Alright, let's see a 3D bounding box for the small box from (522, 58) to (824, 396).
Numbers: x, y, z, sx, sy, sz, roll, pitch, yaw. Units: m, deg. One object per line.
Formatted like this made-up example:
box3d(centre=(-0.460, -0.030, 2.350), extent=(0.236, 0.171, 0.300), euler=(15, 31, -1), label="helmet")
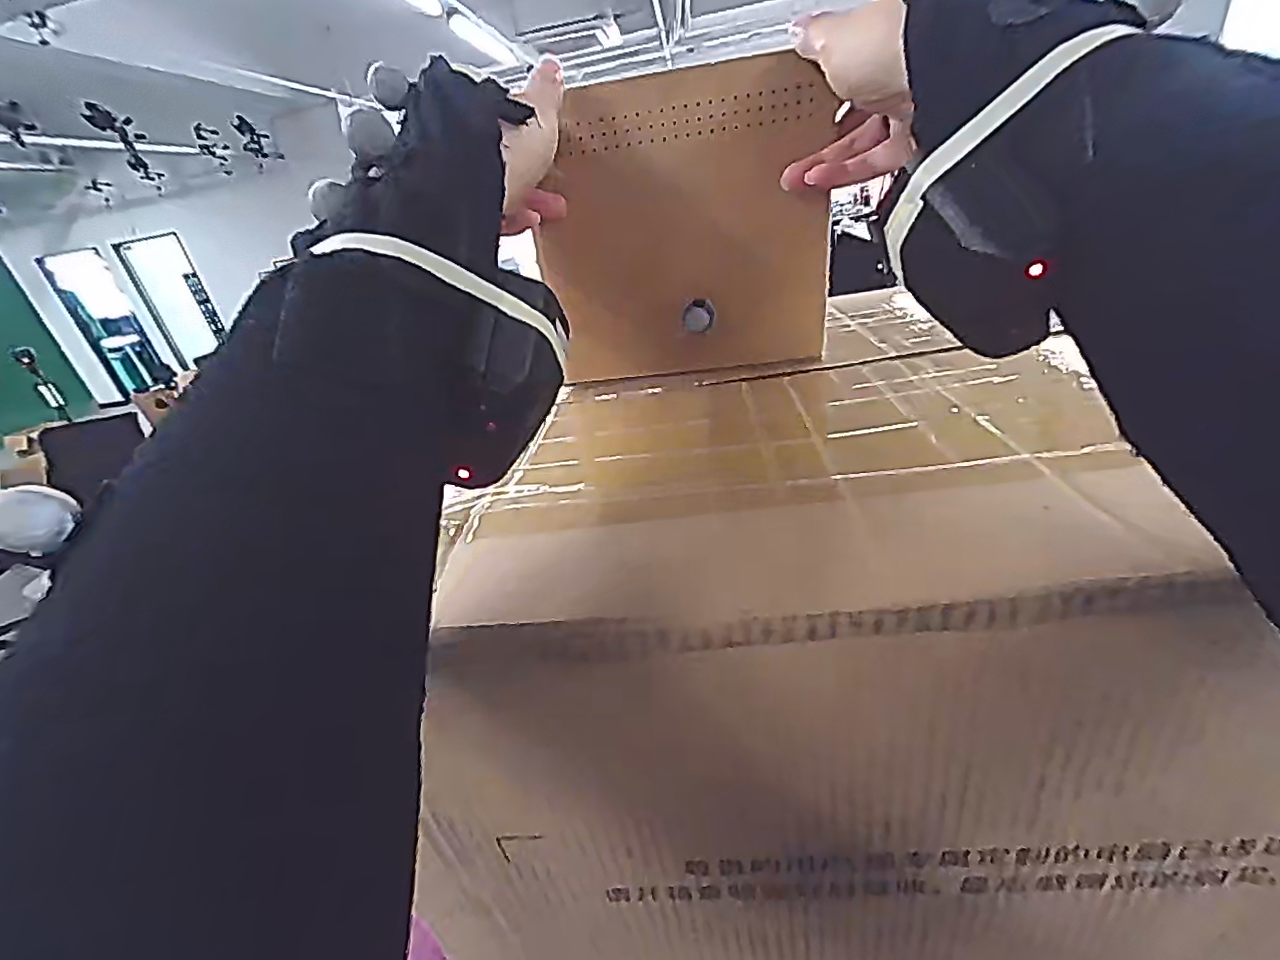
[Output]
box3d(centre=(0.025, -0.176, 0.390), extent=(0.179, 0.176, 0.168), euler=(-5, 31, 8), label="small box")
